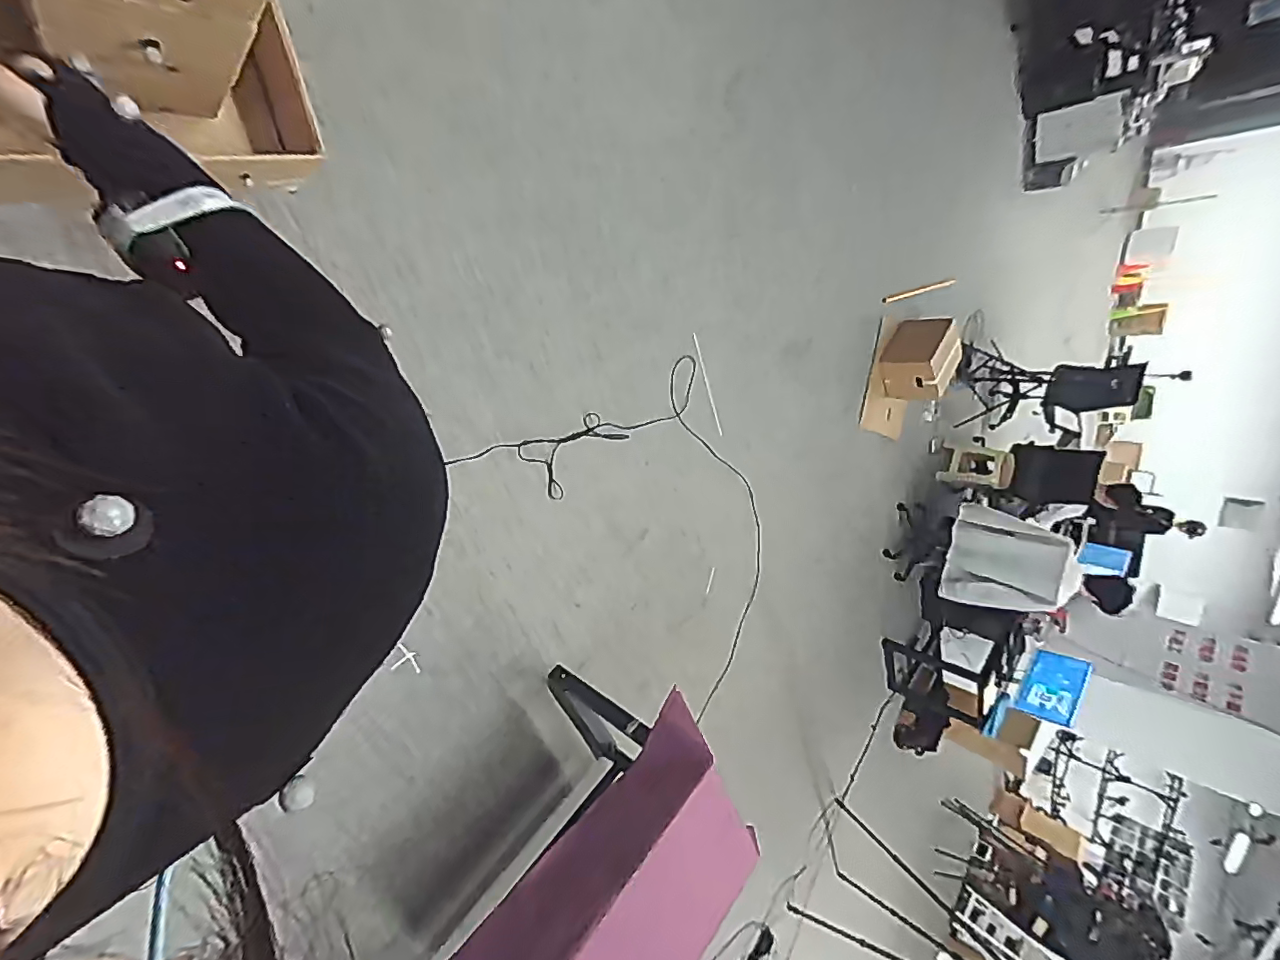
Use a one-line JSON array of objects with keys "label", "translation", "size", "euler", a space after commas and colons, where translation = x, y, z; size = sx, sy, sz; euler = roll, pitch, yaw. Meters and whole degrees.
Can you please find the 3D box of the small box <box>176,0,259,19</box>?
[{"label": "small box", "translation": [-0.394, -0.501, 0.407], "size": [0.168, 0.176, 0.179], "euler": [-18, 111, -39]}]
